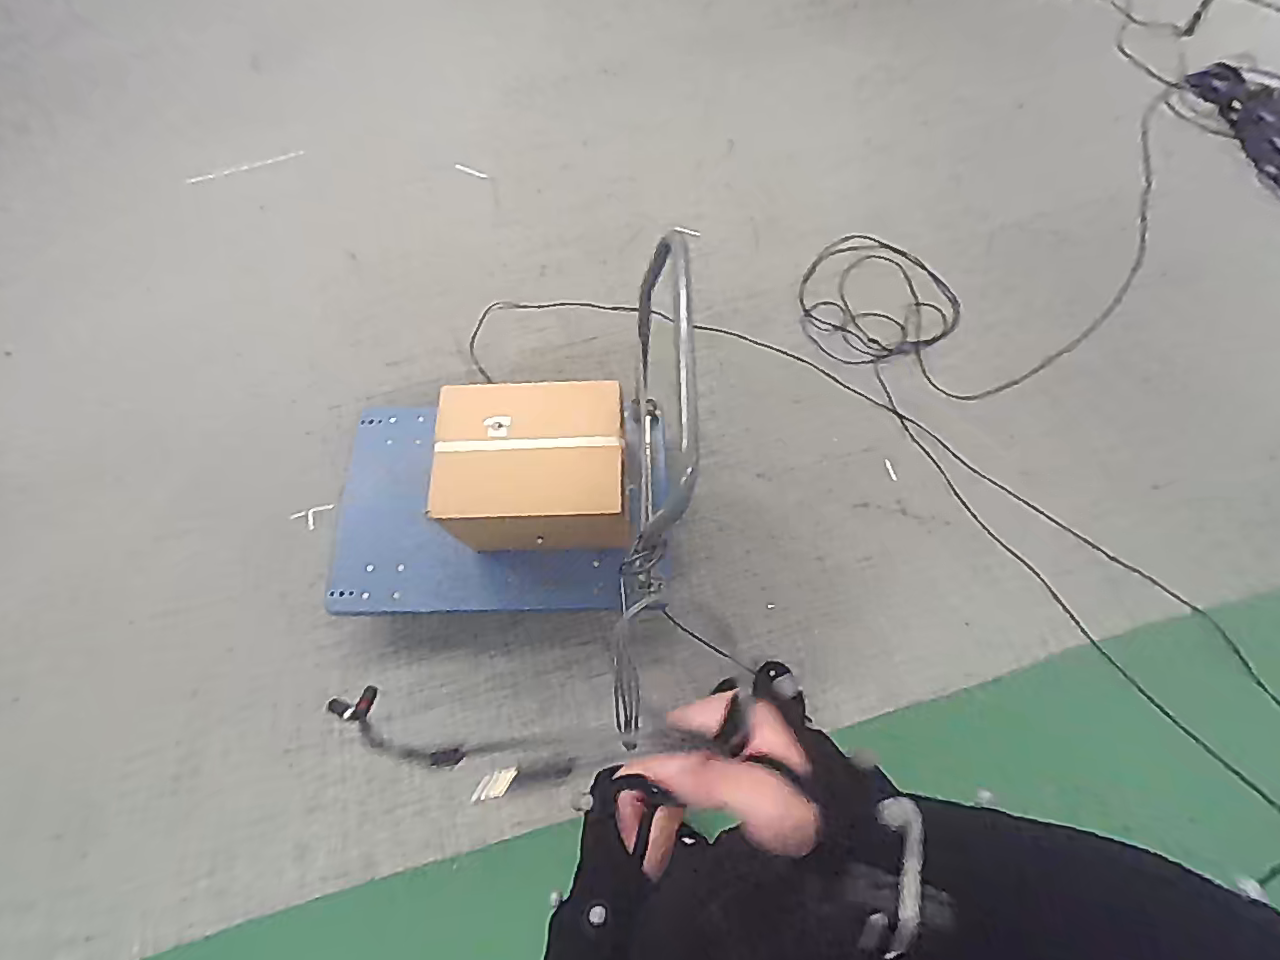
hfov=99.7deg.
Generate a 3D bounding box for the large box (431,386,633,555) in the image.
[{"bbox_3d":[-0.228,-0.006,1.290,0.408,0.320,0.320,-2,69,2],"label":"large box"}]
